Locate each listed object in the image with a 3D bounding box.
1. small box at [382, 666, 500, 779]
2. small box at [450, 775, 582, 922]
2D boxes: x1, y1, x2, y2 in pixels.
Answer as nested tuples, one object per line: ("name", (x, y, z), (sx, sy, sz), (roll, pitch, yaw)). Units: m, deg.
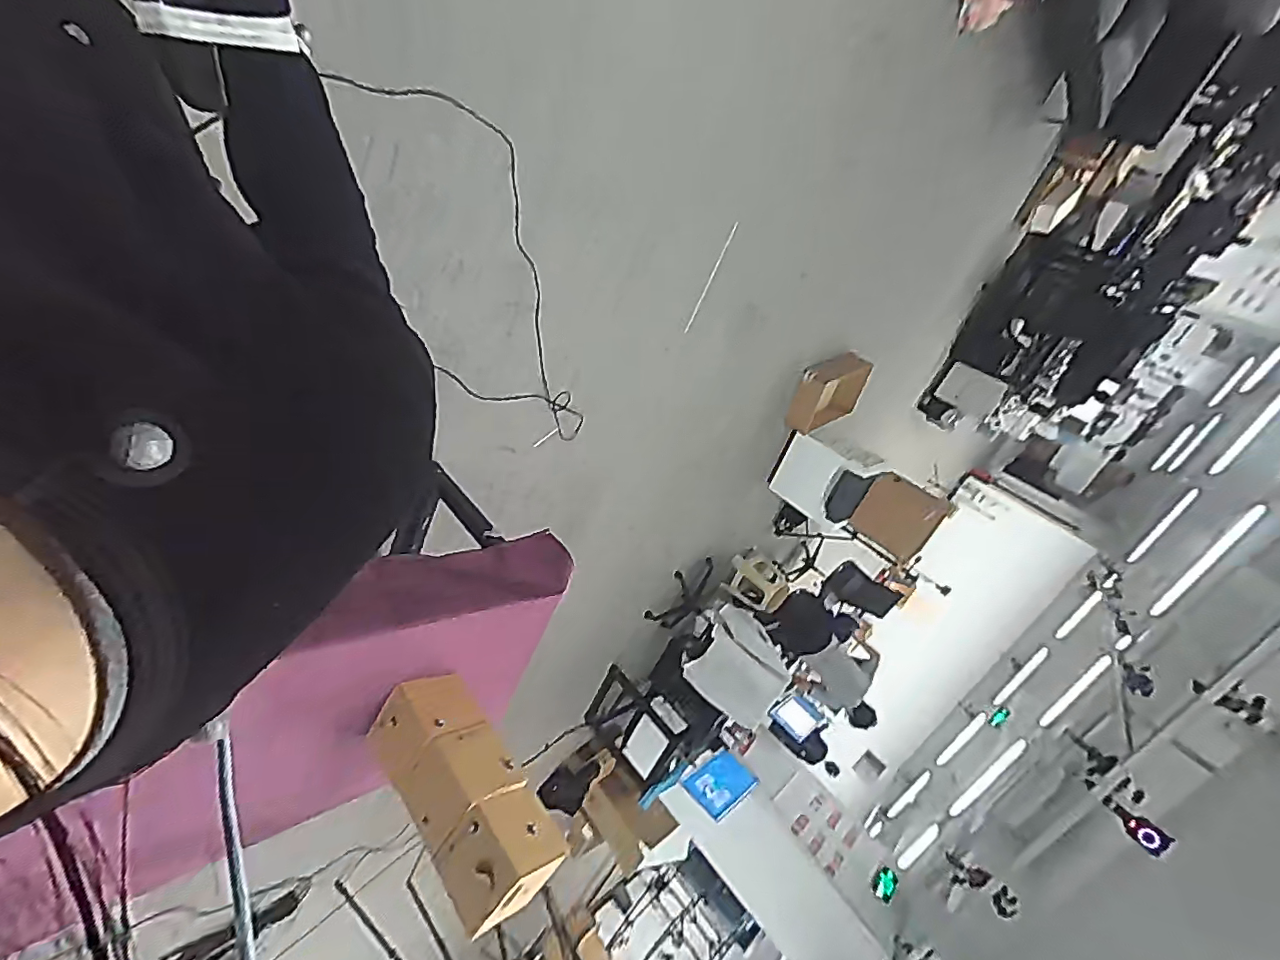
("small box", (-0.480, 0.570, 1.302), (0.179, 0.176, 0.168), (15, 111, -55))
("small box", (-0.265, 0.764, 1.143), (0.168, 0.176, 0.179), (-52, 148, 6))
